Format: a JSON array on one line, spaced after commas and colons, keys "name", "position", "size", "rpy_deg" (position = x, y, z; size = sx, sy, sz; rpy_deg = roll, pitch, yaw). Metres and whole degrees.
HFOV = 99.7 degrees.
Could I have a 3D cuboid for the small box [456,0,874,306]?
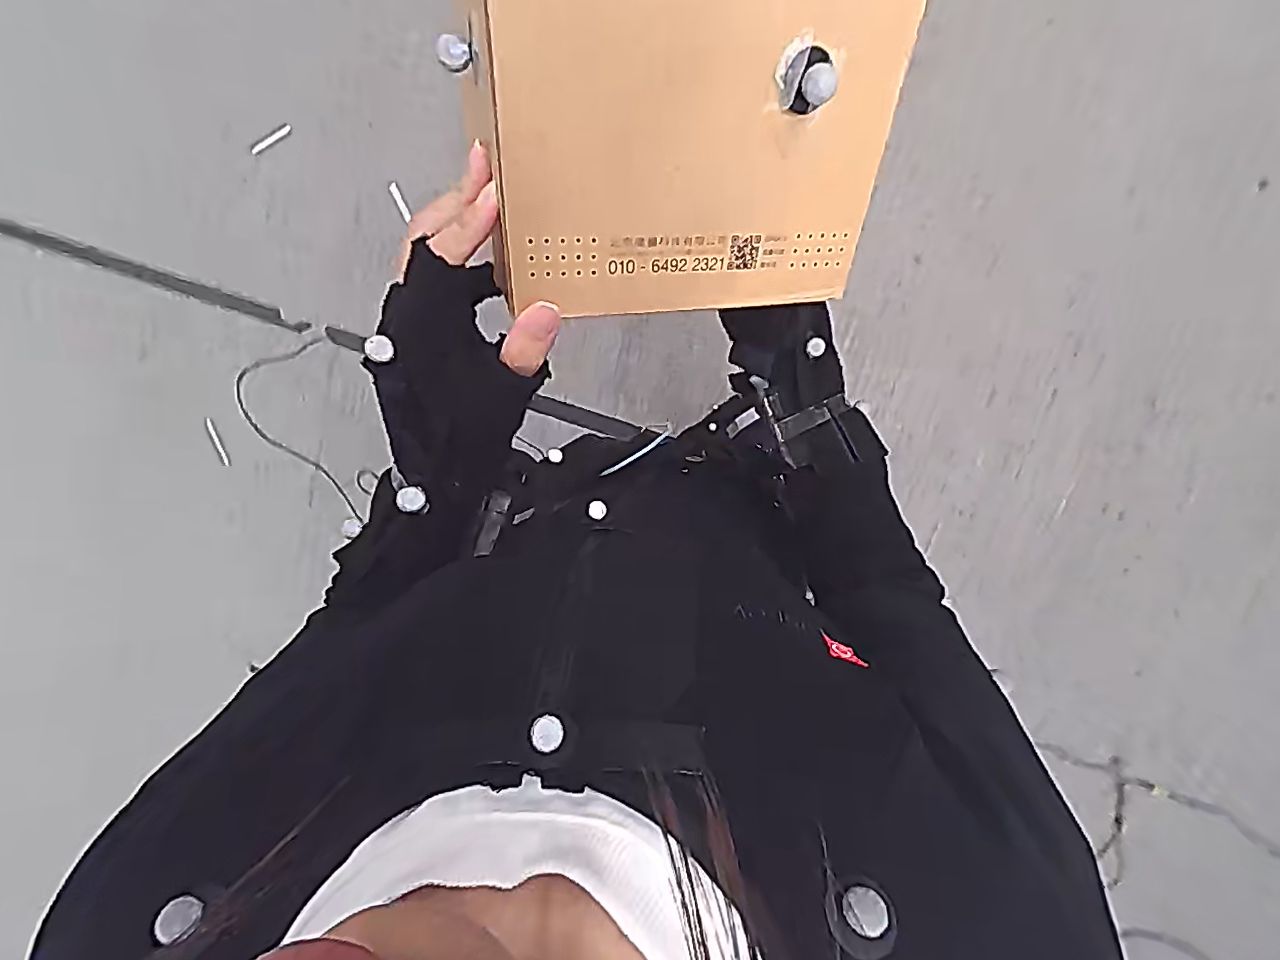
[{"name": "small box", "position": [-0.002, -0.198, 0.283], "size": [0.168, 0.179, 0.176], "rpy_deg": [-9, 129, -15]}]
